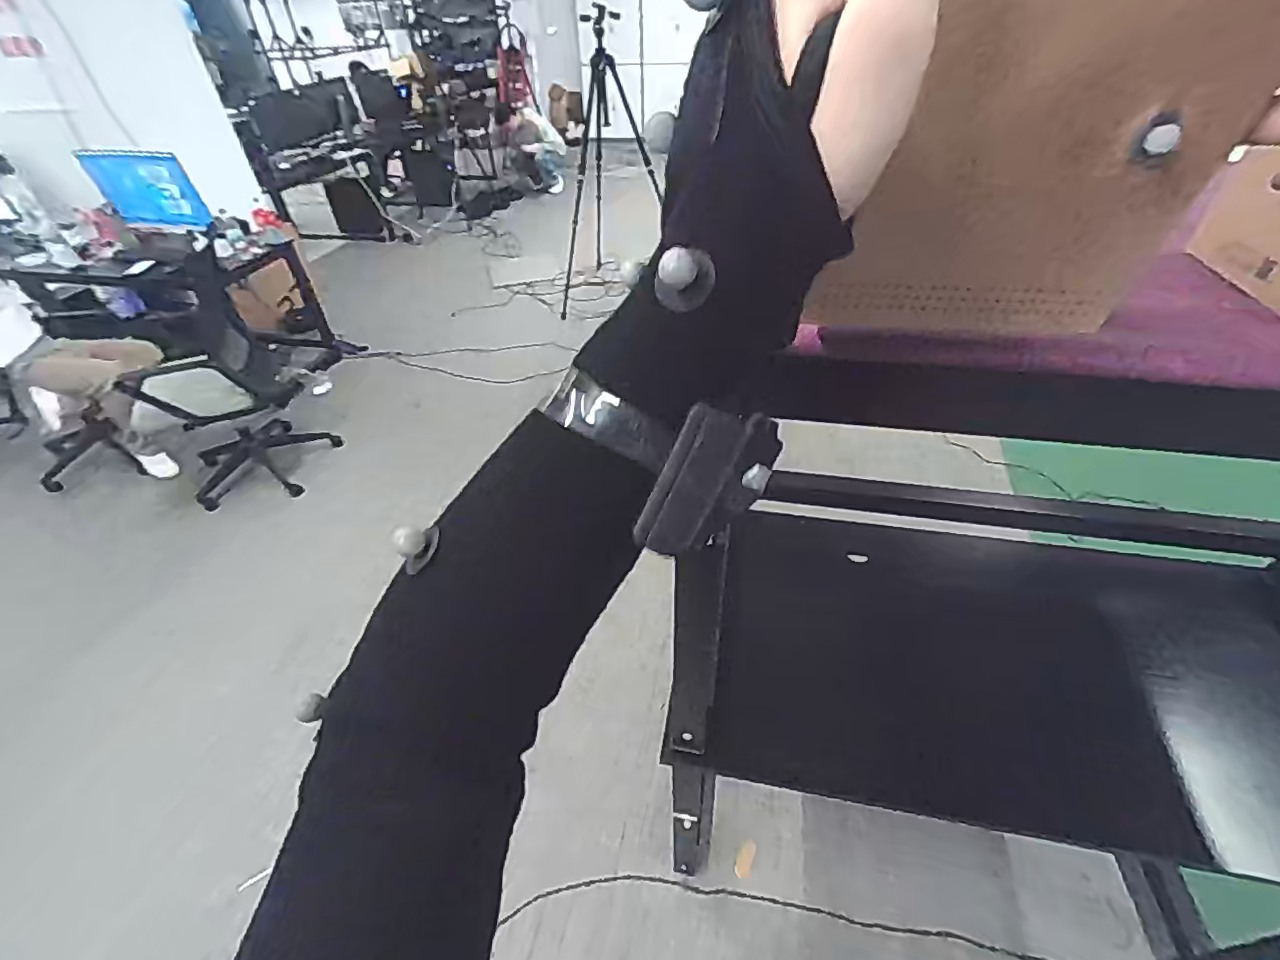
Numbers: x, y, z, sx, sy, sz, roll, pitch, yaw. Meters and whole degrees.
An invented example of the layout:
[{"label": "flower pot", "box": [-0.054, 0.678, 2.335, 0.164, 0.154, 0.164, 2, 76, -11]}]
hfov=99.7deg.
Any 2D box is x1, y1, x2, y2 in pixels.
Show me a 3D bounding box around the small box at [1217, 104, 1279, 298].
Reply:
[{"label": "small box", "box": [0.546, -0.208, 0.349, 0.179, 0.176, 0.168, 8, 42, 14]}]
